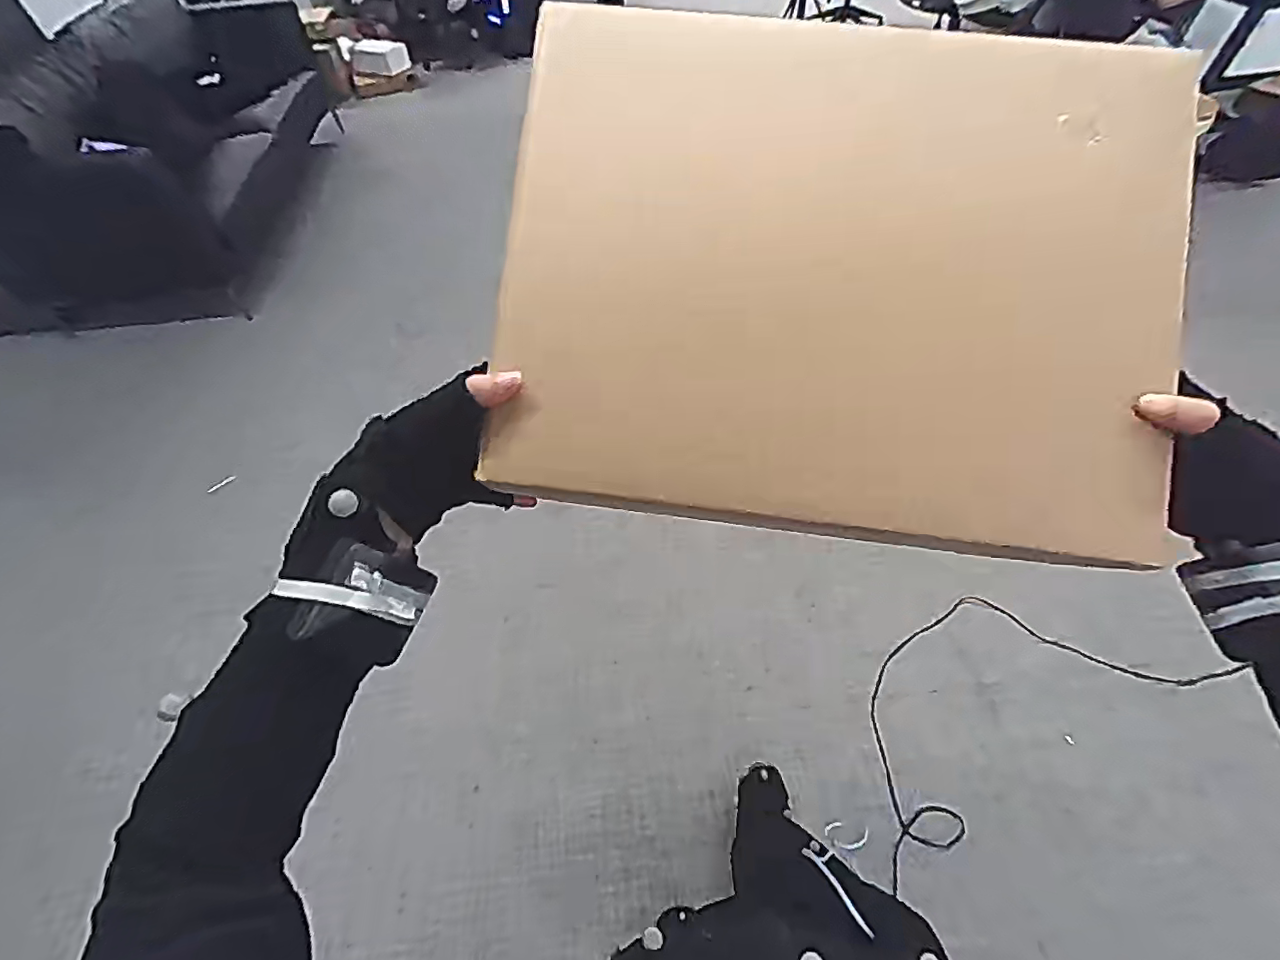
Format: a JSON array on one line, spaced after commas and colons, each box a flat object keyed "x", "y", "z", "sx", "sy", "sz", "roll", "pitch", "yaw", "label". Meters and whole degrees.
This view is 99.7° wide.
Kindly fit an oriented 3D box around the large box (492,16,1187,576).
[{"x": 0.127, "y": -0.114, "z": 0.481, "sx": 0.408, "sy": 0.320, "sz": 0.320, "roll": 8, "pitch": 88, "yaw": 4, "label": "large box"}]
